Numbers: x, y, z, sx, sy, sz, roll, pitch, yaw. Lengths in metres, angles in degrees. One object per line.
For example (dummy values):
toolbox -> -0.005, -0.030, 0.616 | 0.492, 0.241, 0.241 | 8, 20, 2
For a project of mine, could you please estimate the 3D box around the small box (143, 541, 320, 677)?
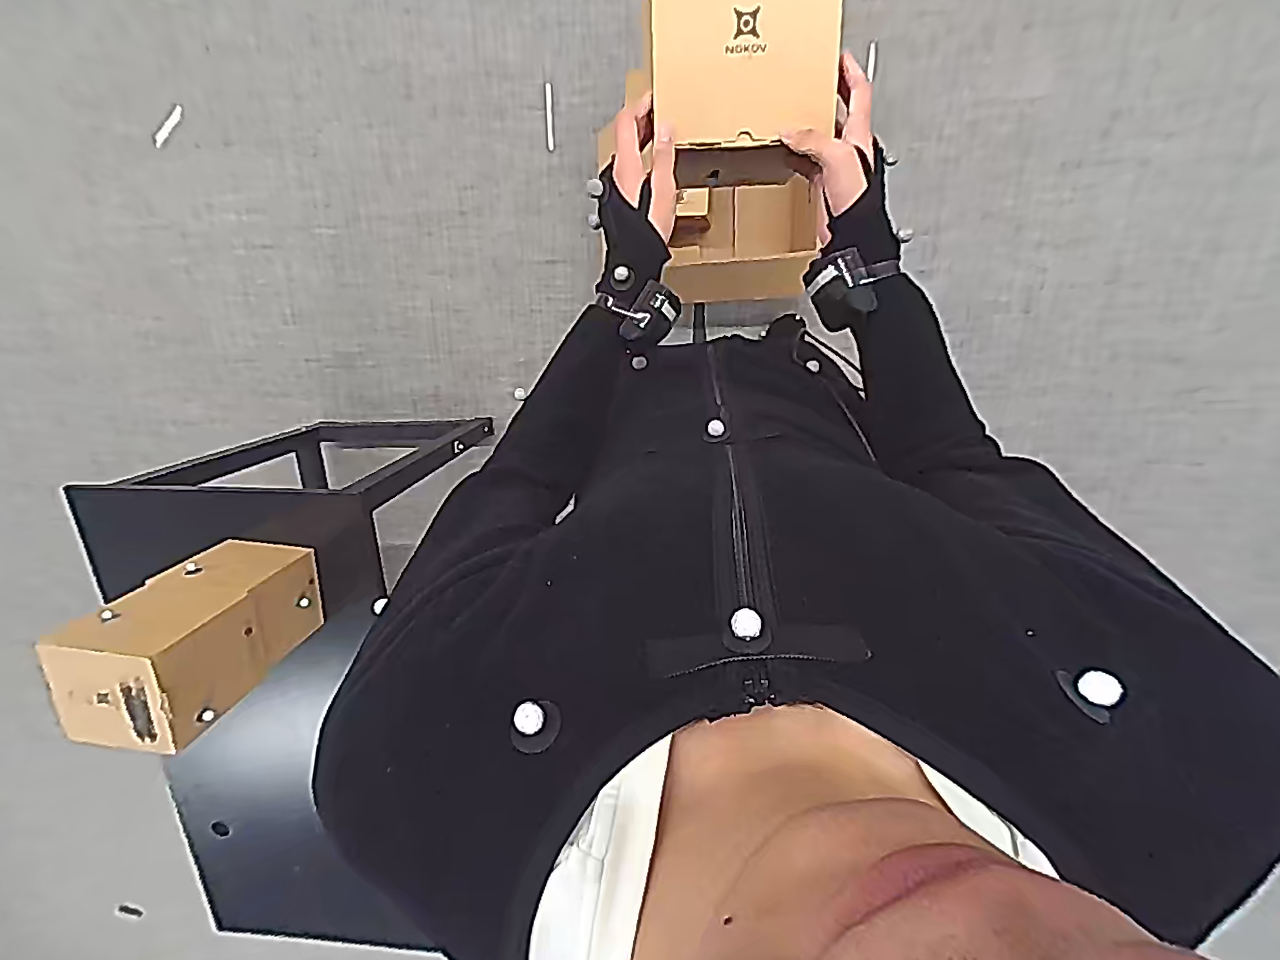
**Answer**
small box -> -0.714, 0.220, 0.965 | 0.179, 0.176, 0.168 | 6, 109, 4

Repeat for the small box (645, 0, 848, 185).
small box -> 0.091, -0.409, 0.532 | 0.168, 0.176, 0.179 | -2, 107, 0
